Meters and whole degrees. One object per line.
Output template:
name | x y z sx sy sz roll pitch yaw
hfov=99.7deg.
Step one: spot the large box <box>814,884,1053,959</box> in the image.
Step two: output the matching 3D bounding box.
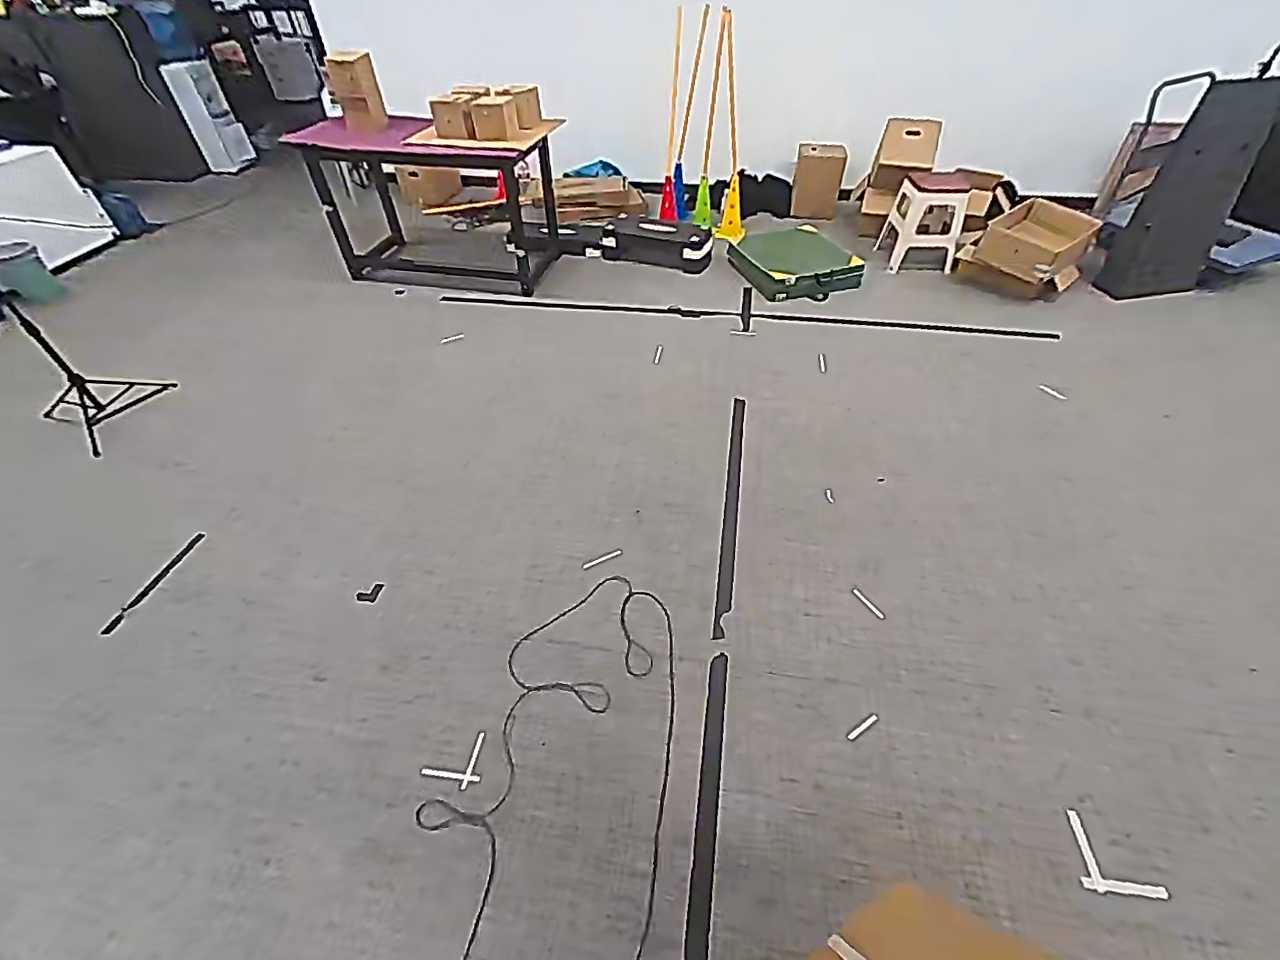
large box | 0.406 0.764 0.602 0.320 0.408 0.320 -25 78 -18
